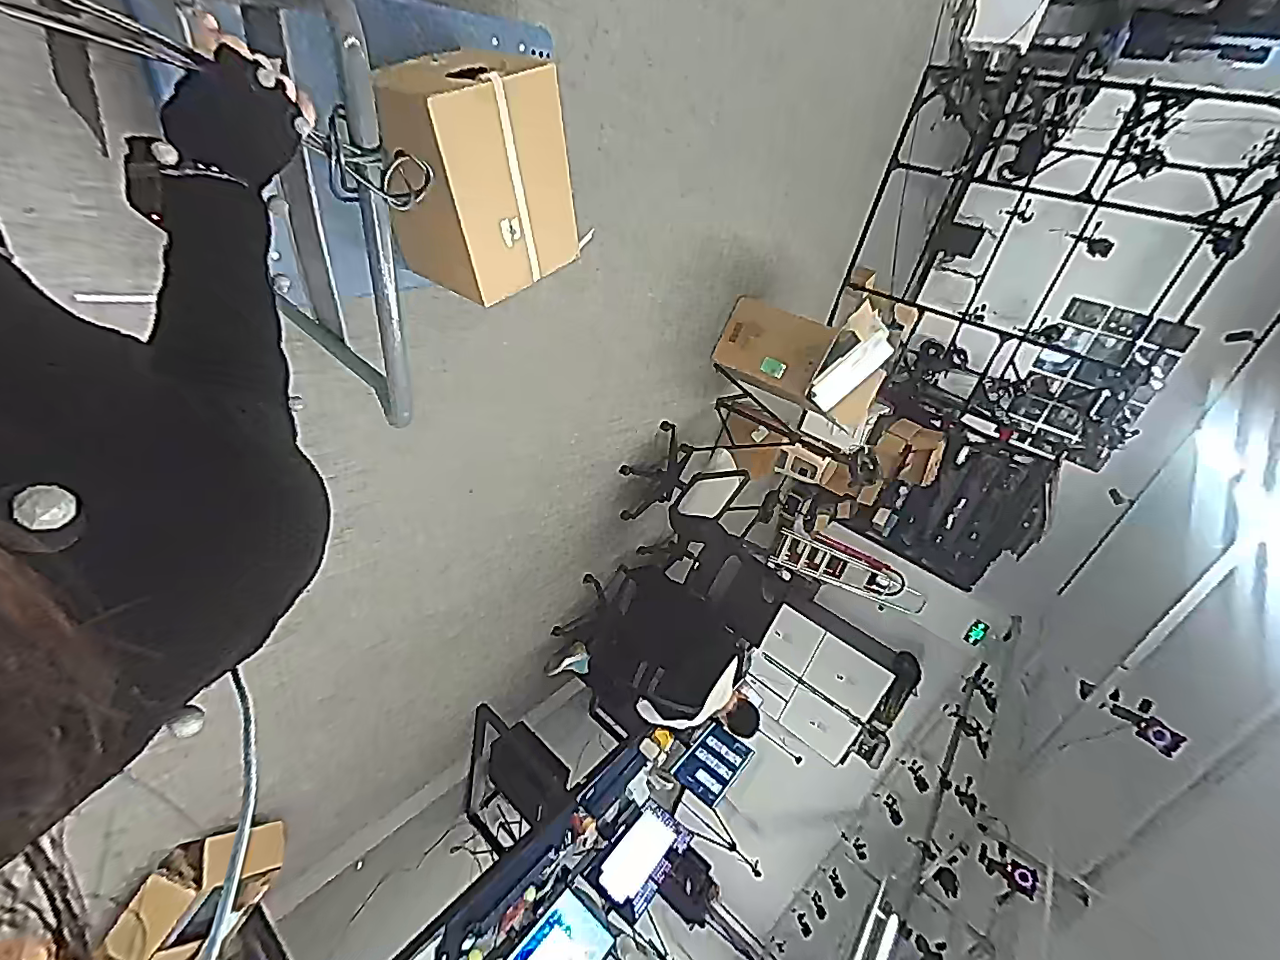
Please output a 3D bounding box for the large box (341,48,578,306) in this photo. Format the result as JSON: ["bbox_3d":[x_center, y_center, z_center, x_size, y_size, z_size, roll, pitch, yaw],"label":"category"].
[{"bbox_3d":[-0.377,-0.681,1.218,0.320,0.320,0.408,-42,149,-29],"label":"large box"}]
